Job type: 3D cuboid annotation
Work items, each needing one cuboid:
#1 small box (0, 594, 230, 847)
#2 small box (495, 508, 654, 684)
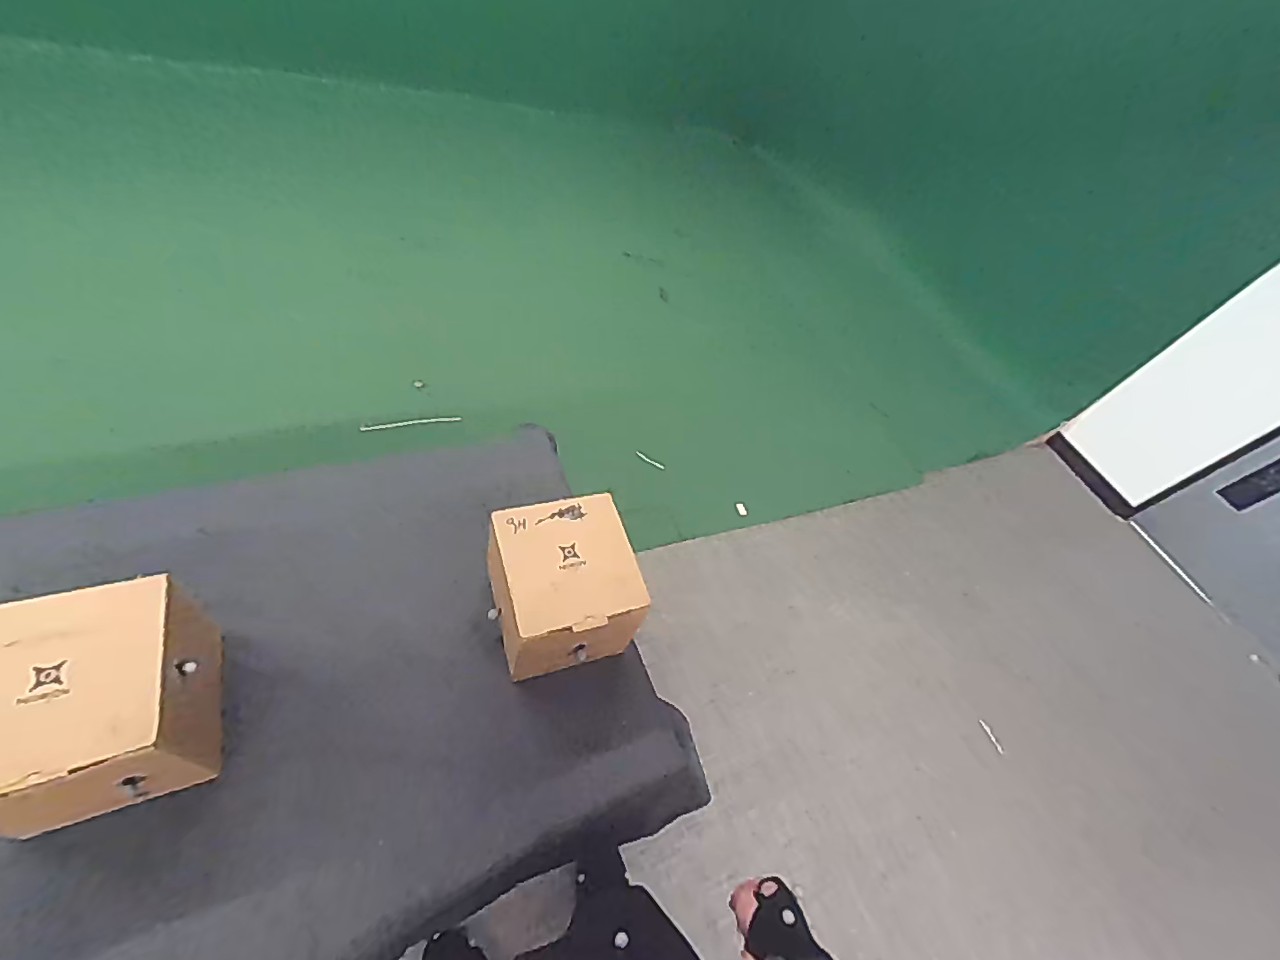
[{"bbox_3d":[-0.541,0.246,0.550,0.168,0.176,0.179,-10,57,-26],"label":"small box"},{"bbox_3d":[-0.101,0.165,0.746,0.168,0.176,0.179,-9,58,-23],"label":"small box"}]
